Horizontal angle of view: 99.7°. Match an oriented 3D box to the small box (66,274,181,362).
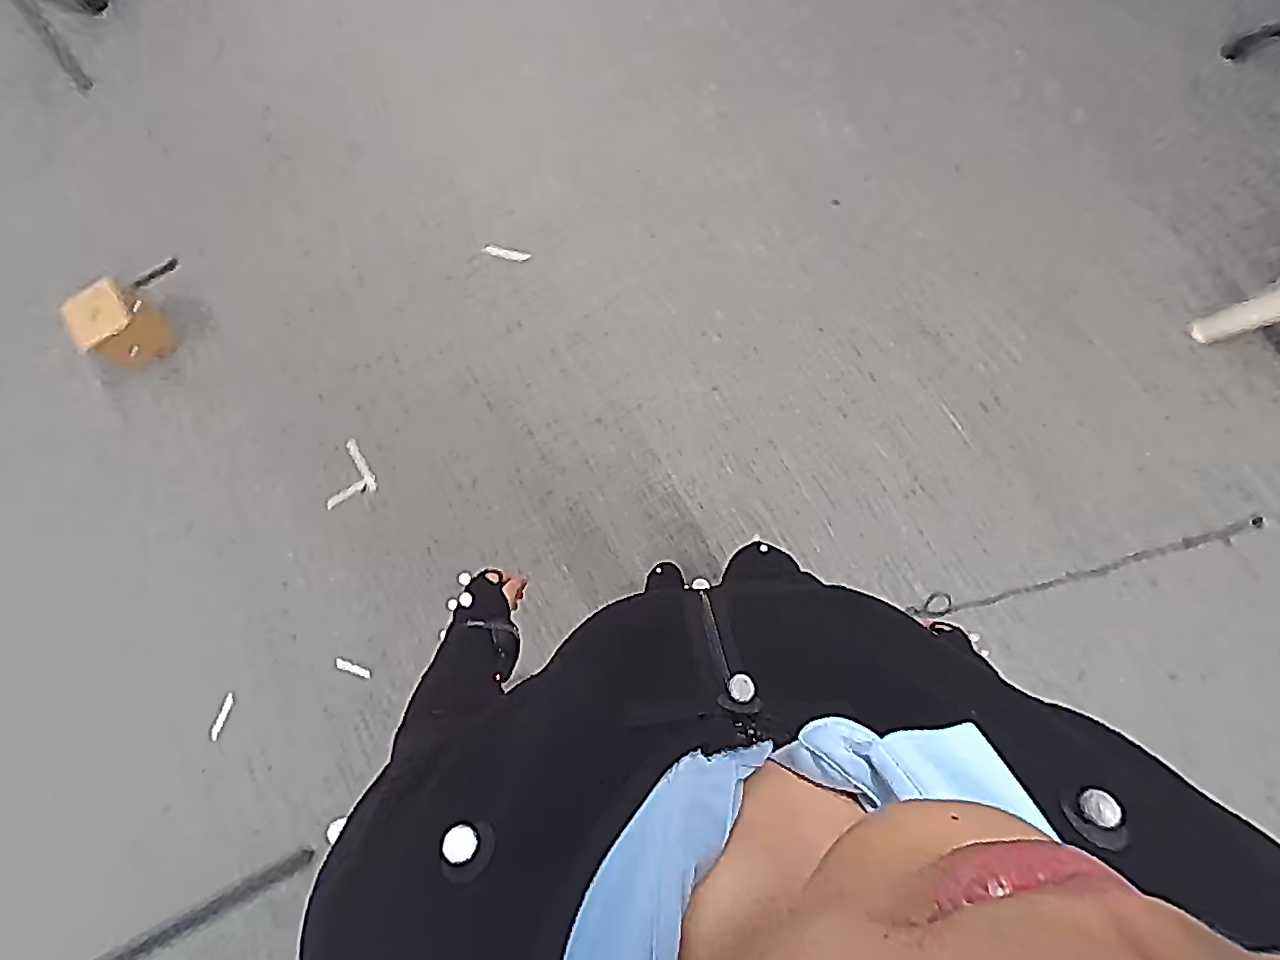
[{"bbox_3d":[-1.568,-0.482,1.653,0.168,0.176,0.179,-31,80,-2],"label":"small box"}]
